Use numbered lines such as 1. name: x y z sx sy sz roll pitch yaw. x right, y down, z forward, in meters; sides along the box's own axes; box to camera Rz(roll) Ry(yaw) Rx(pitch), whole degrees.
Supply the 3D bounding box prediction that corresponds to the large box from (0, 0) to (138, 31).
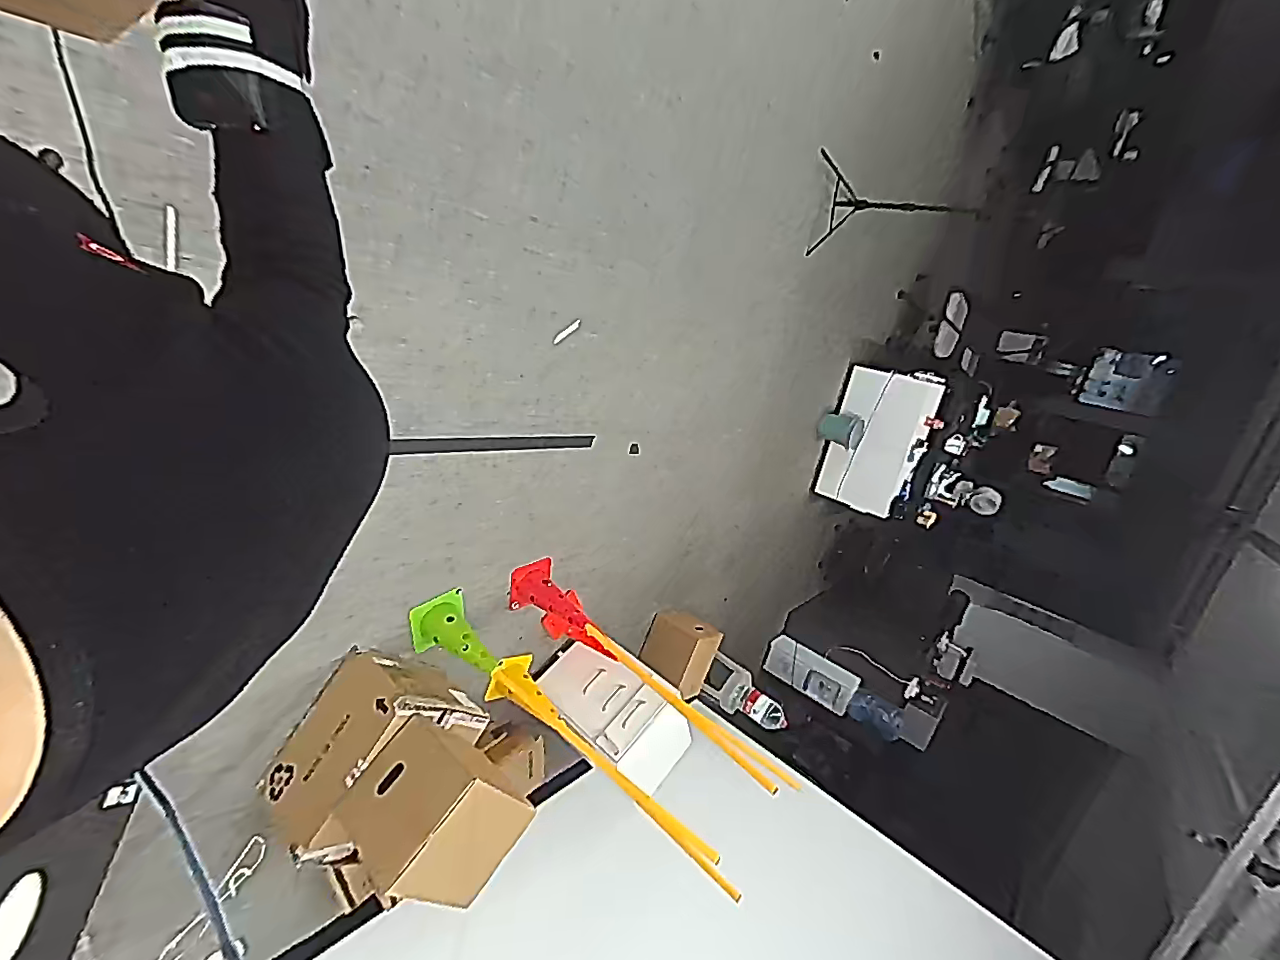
1. large box: -0.488 -0.475 0.219 0.408 0.320 0.320 -16 120 -50
